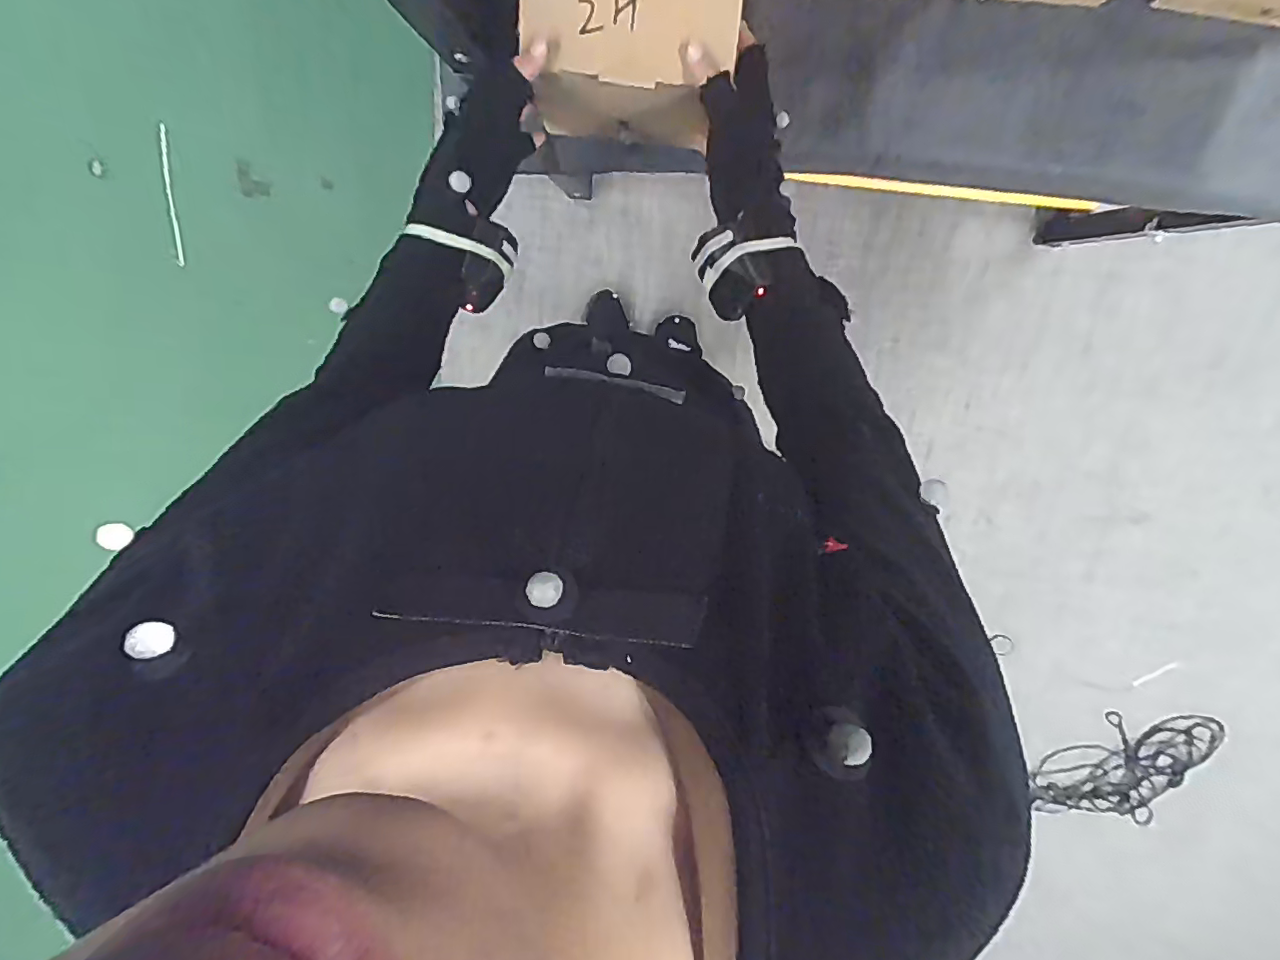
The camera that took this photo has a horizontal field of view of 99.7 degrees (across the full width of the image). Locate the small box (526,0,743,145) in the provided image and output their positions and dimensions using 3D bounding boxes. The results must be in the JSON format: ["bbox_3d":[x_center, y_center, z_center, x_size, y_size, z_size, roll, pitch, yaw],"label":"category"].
[{"bbox_3d":[-0.002,-0.423,0.474,0.168,0.176,0.179,4,108,-3],"label":"small box"}]
